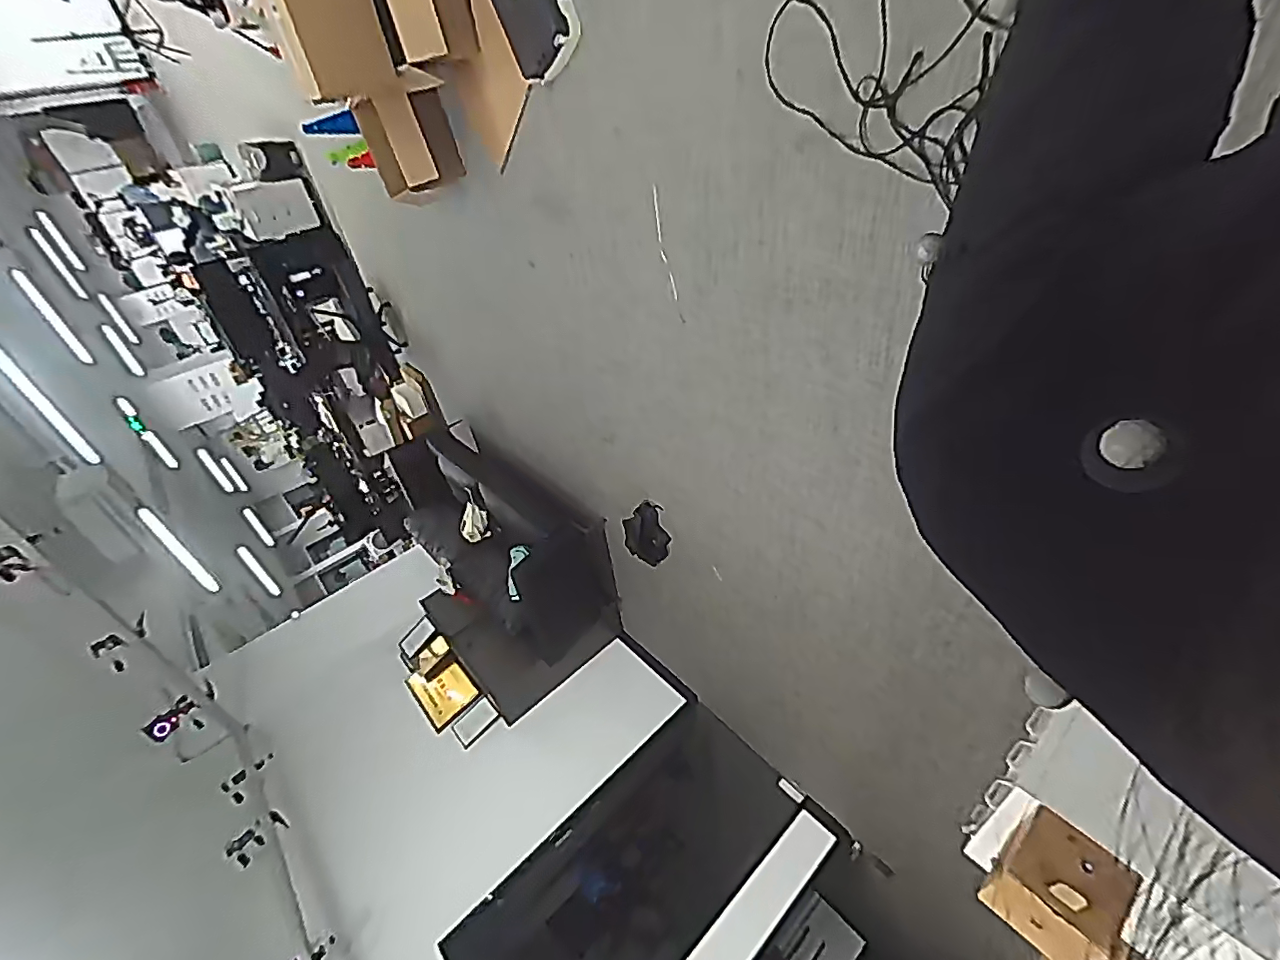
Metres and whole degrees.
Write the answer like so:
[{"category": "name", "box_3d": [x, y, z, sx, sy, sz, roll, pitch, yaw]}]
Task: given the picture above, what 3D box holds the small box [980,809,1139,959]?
[{"category": "small box", "box_3d": [0.788, 0.773, 1.022, 0.168, 0.176, 0.179, 33, 144, 38]}]
